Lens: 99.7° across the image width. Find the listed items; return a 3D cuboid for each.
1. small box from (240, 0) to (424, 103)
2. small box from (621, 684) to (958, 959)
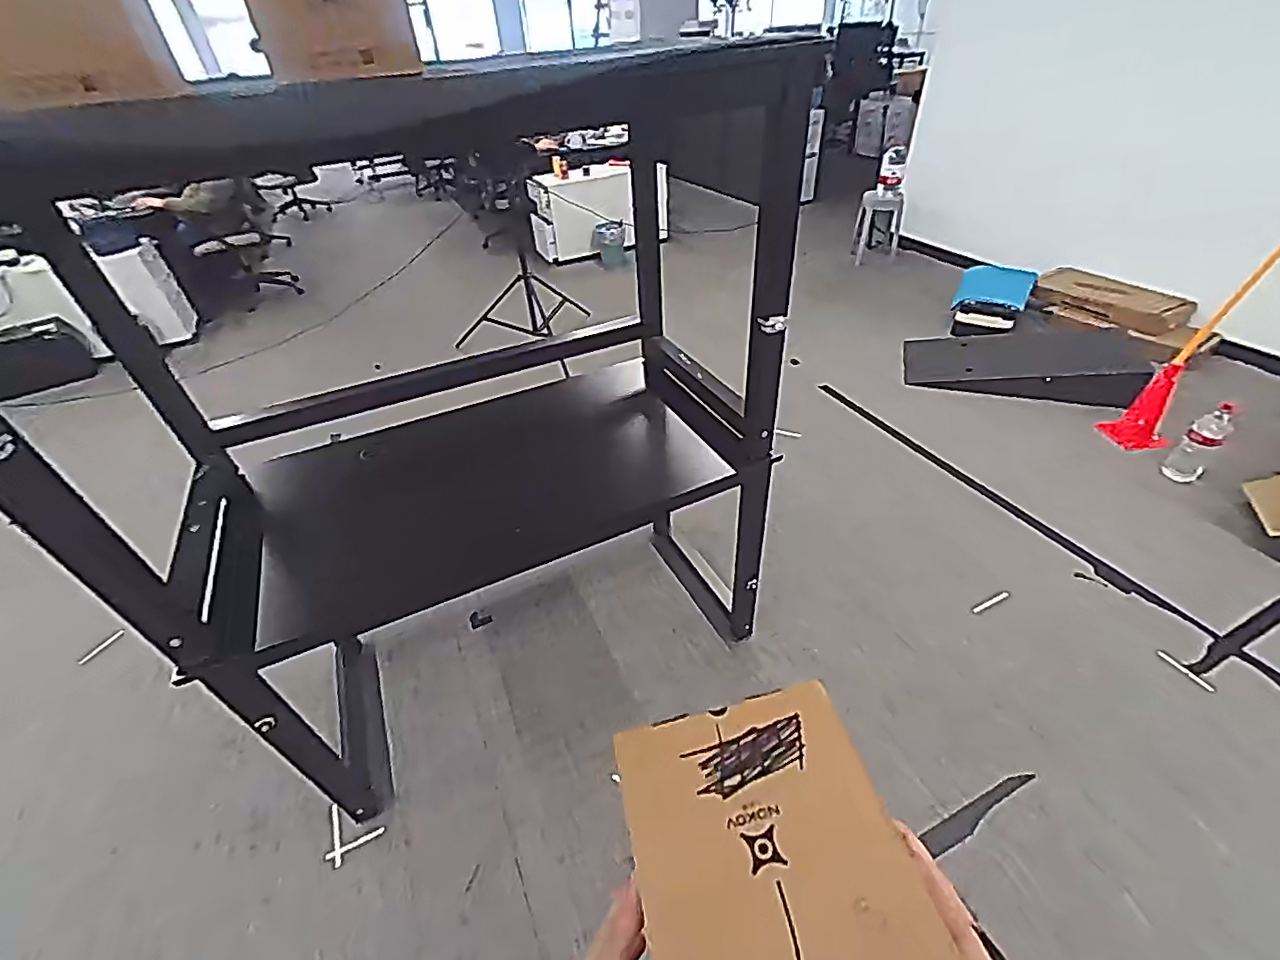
[{"bbox_3d":[-0.369,-0.556,0.638,0.168,0.176,0.179,-19,40,-17],"label":"small box"},{"bbox_3d":[0.089,0.289,0.402,0.168,0.176,0.179,-14,41,-4],"label":"small box"}]
